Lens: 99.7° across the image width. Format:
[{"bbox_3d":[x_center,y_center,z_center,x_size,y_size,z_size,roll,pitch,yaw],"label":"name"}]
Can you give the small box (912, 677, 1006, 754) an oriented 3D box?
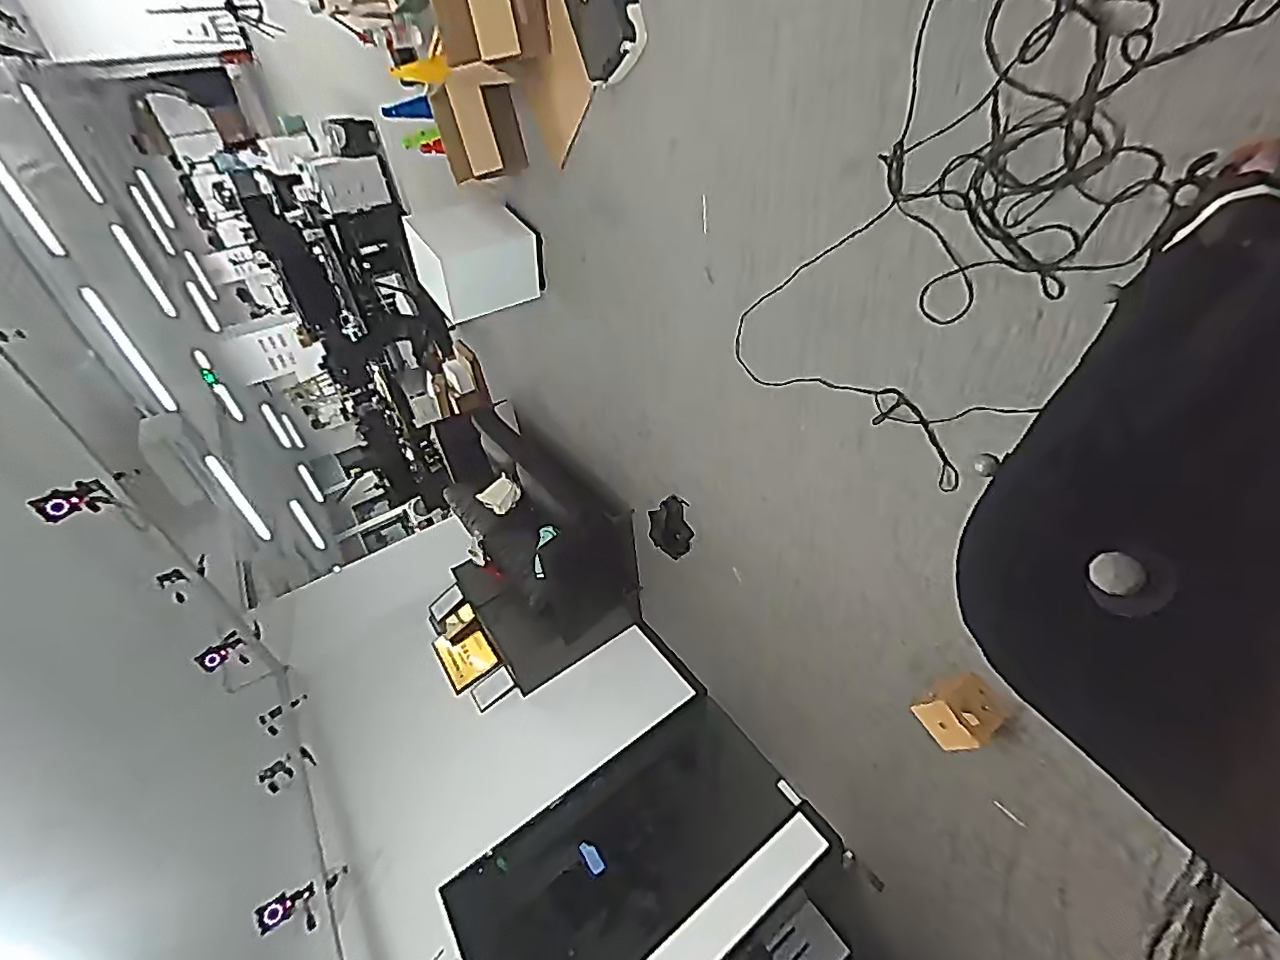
[{"bbox_3d":[1.065,0.786,1.806,0.168,0.176,0.179,54,154,20],"label":"small box"}]
